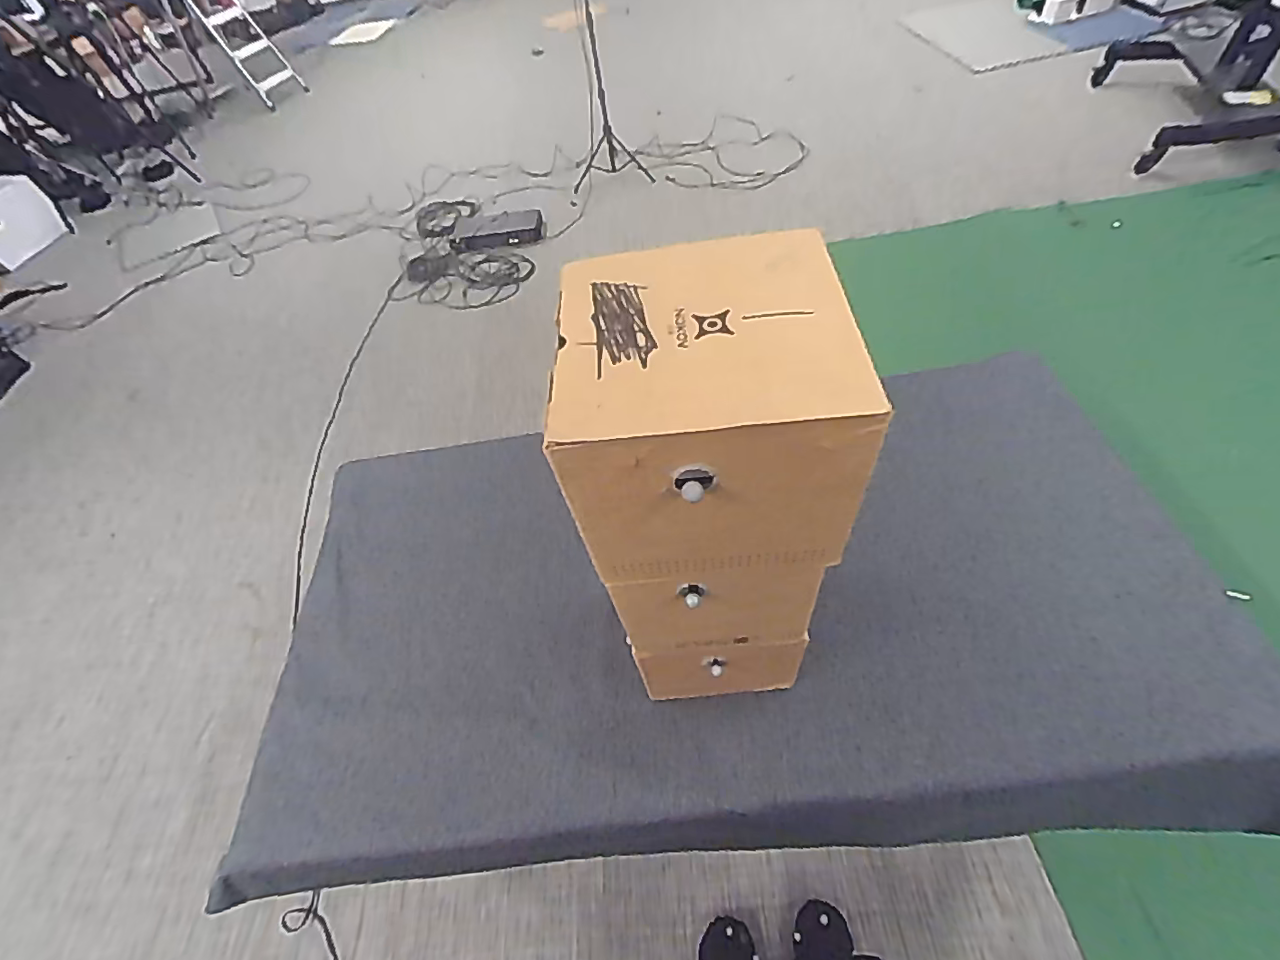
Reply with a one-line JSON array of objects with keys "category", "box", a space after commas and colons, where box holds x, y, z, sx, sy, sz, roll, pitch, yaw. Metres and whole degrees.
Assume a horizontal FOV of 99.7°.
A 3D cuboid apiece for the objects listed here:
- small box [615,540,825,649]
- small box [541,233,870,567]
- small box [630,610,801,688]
[{"category": "small box", "box": [0.064, 0.046, 0.529, 0.168, 0.176, 0.179, -8, 54, 3]}, {"category": "small box", "box": [0.042, -0.047, 0.392, 0.179, 0.176, 0.168, -5, 54, 5]}, {"category": "small box", "box": [0.084, 0.143, 0.656, 0.179, 0.176, 0.168, -7, 54, 4]}]
